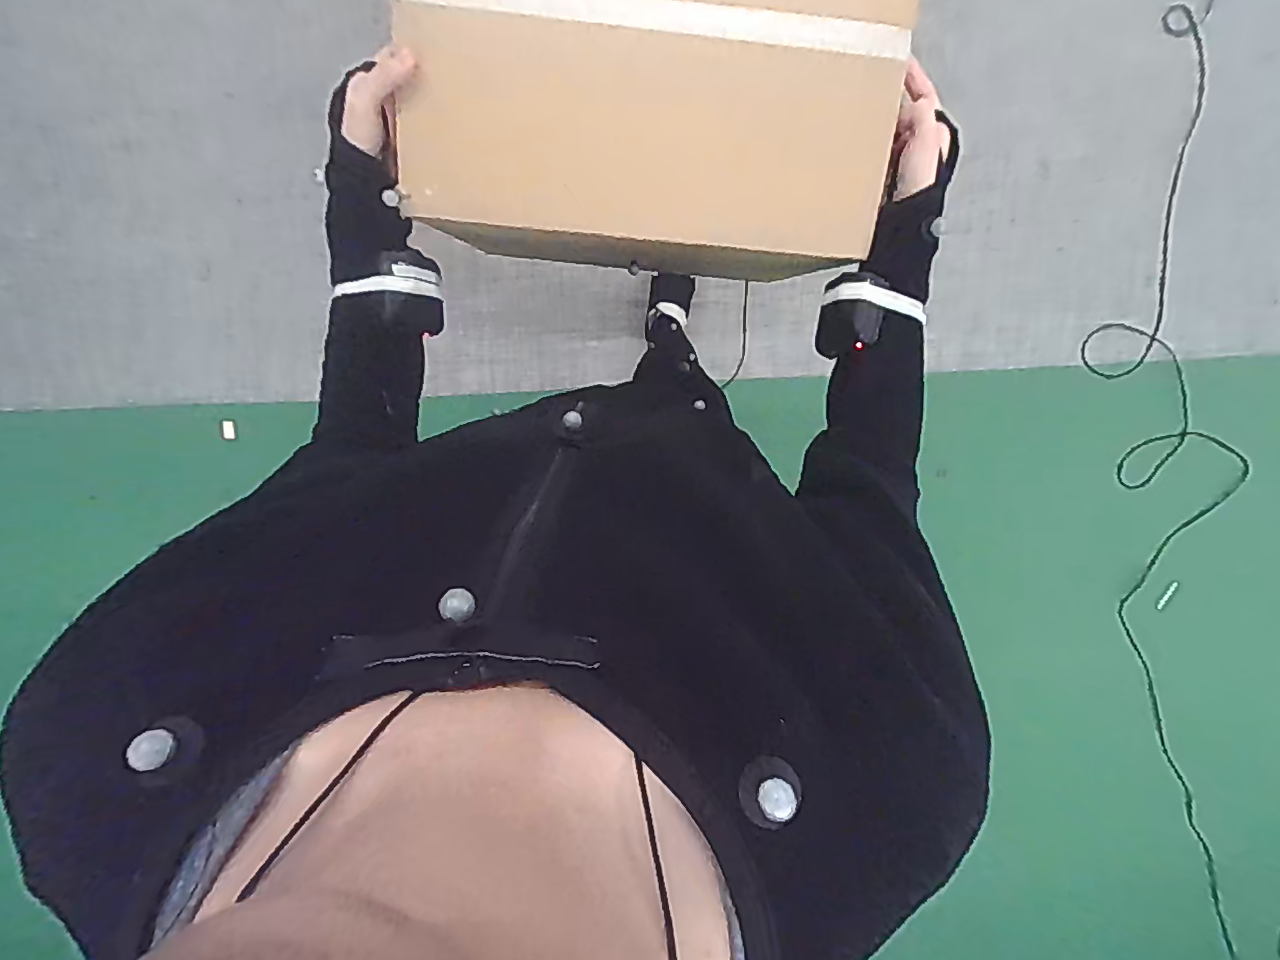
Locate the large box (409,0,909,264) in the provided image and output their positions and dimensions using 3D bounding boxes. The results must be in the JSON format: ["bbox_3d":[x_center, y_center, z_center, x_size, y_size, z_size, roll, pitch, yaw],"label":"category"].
[{"bbox_3d":[0.013,-0.414,0.574,0.408,0.320,0.320,4,107,-3],"label":"large box"}]
